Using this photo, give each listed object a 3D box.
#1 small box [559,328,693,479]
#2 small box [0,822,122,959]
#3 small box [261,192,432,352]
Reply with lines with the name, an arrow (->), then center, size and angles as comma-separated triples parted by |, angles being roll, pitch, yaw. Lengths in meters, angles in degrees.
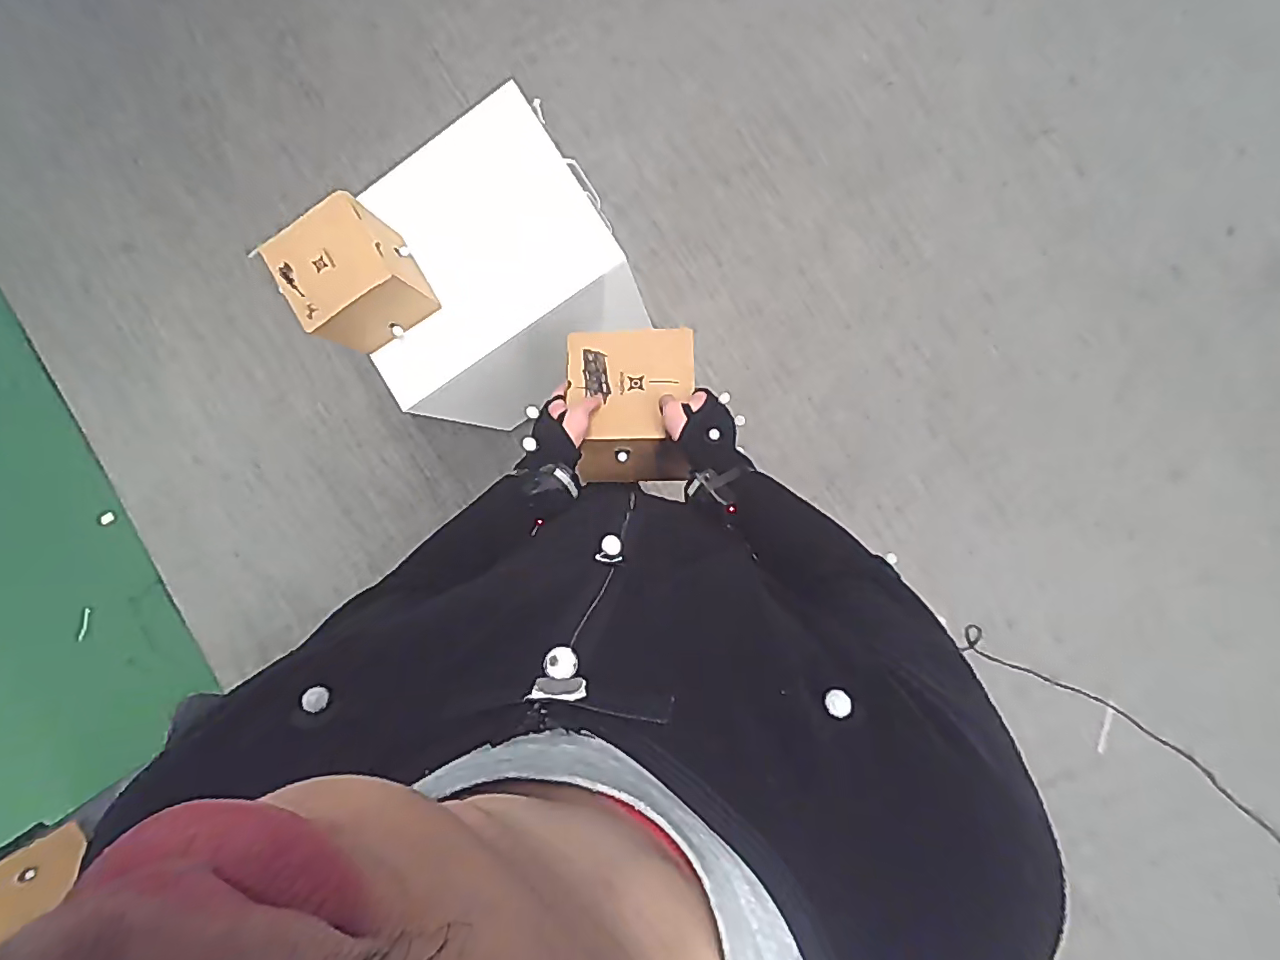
small box -> -0.013, -0.104, 0.790 | 0.179, 0.176, 0.168 | 0, 71, 2
small box -> -1.051, 0.720, 0.910 | 0.168, 0.176, 0.179 | -31, 89, 8
small box -> -0.491, -0.348, 0.940 | 0.179, 0.176, 0.168 | -31, 87, 6
